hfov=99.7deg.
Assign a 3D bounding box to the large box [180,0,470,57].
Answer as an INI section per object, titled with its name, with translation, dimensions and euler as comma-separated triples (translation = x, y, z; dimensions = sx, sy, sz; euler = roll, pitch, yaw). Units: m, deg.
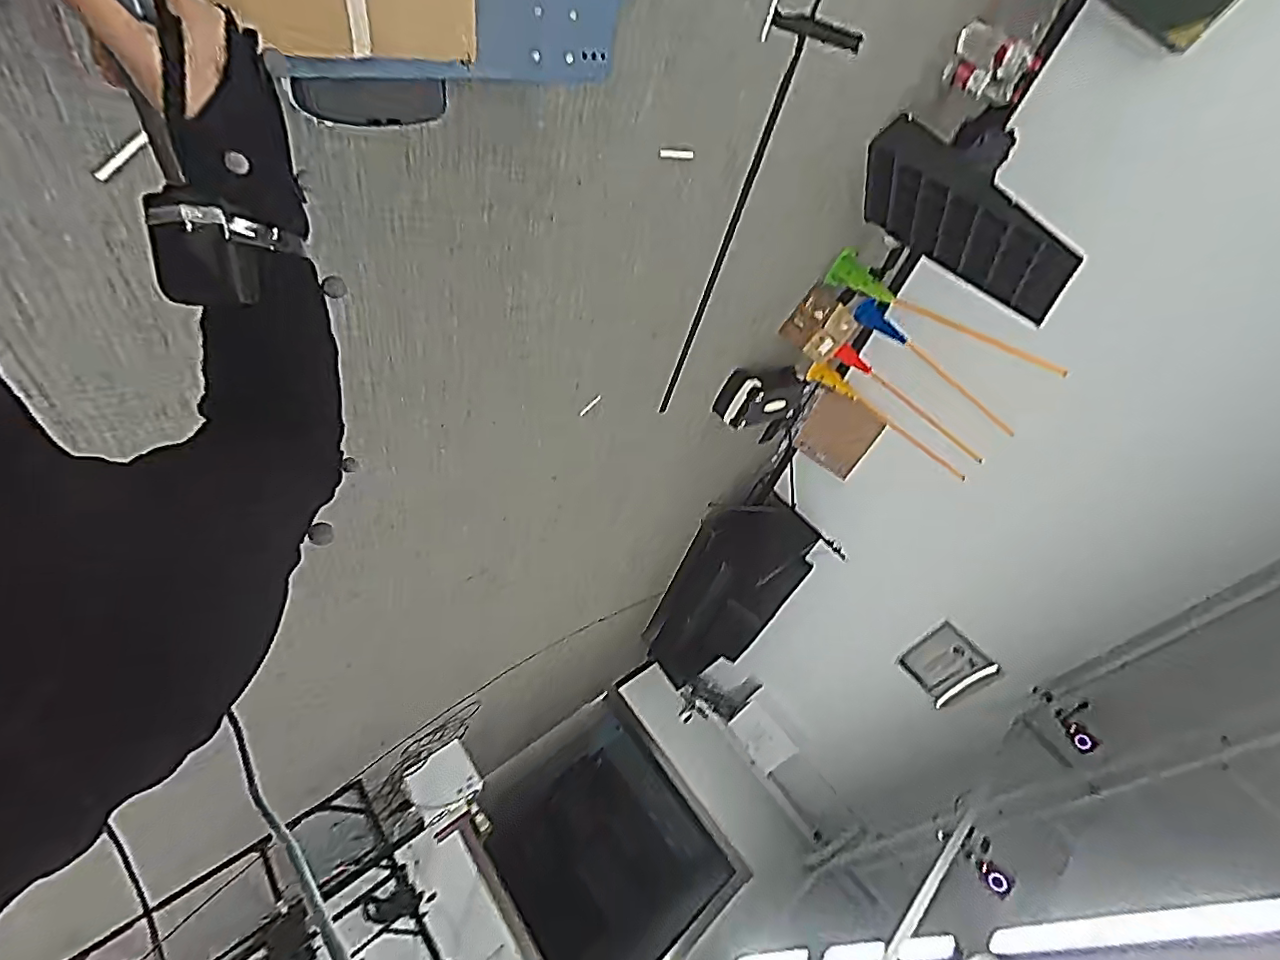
[large box]
translation = -0.406, -0.762, 0.587
dimensions = 0.320, 0.320, 0.408
euler = -26, 152, -32
